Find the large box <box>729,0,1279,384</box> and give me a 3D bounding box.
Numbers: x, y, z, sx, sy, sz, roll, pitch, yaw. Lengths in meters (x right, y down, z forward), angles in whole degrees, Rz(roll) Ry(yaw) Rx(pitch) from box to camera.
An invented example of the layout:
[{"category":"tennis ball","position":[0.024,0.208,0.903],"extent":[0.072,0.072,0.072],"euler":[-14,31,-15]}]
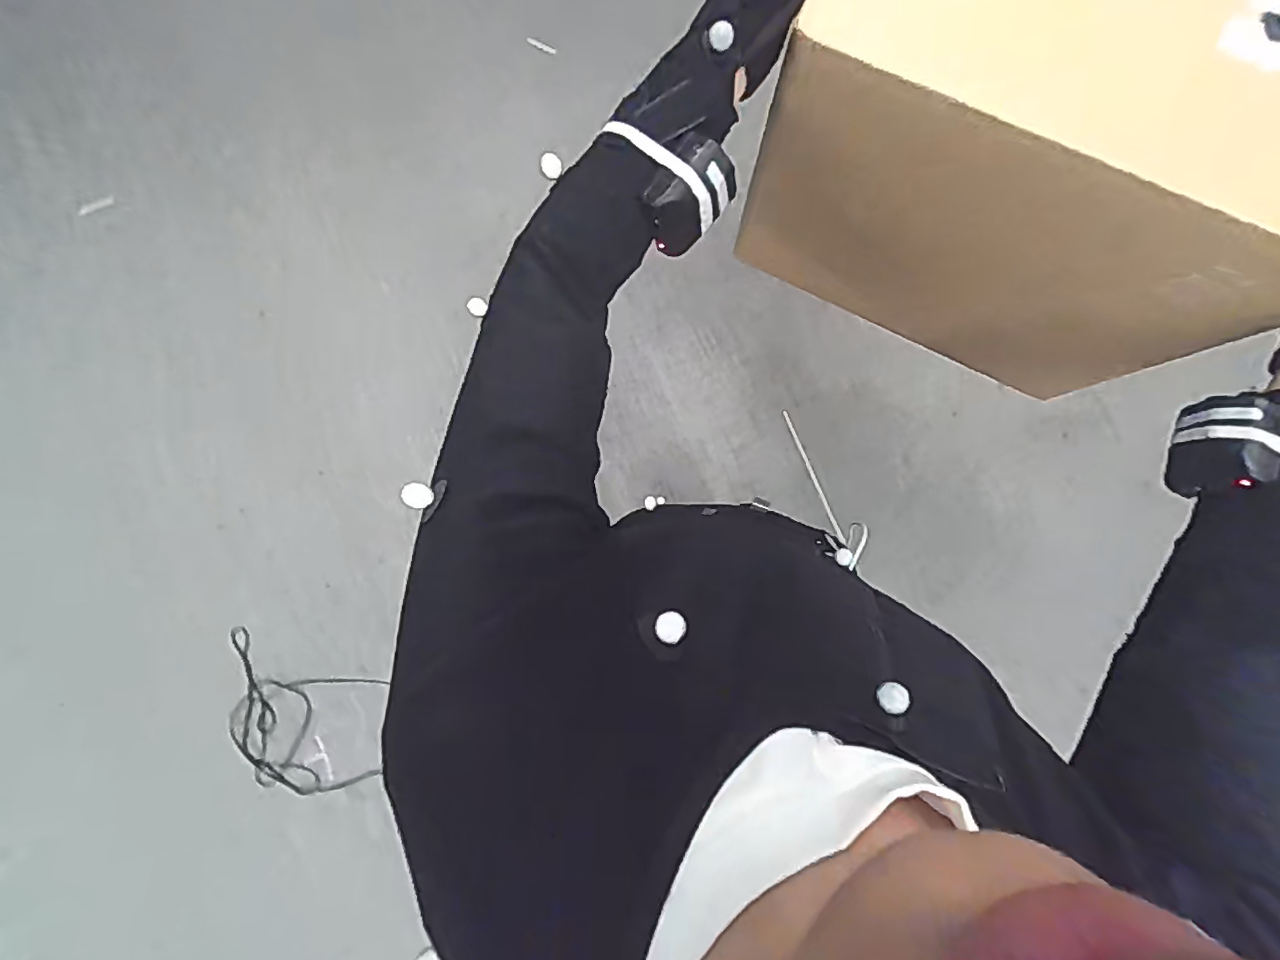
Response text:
[{"category":"large box","position":[0.342,-0.337,0.506],"extent":[0.408,0.320,0.320],"euler":[25,87,3]}]
